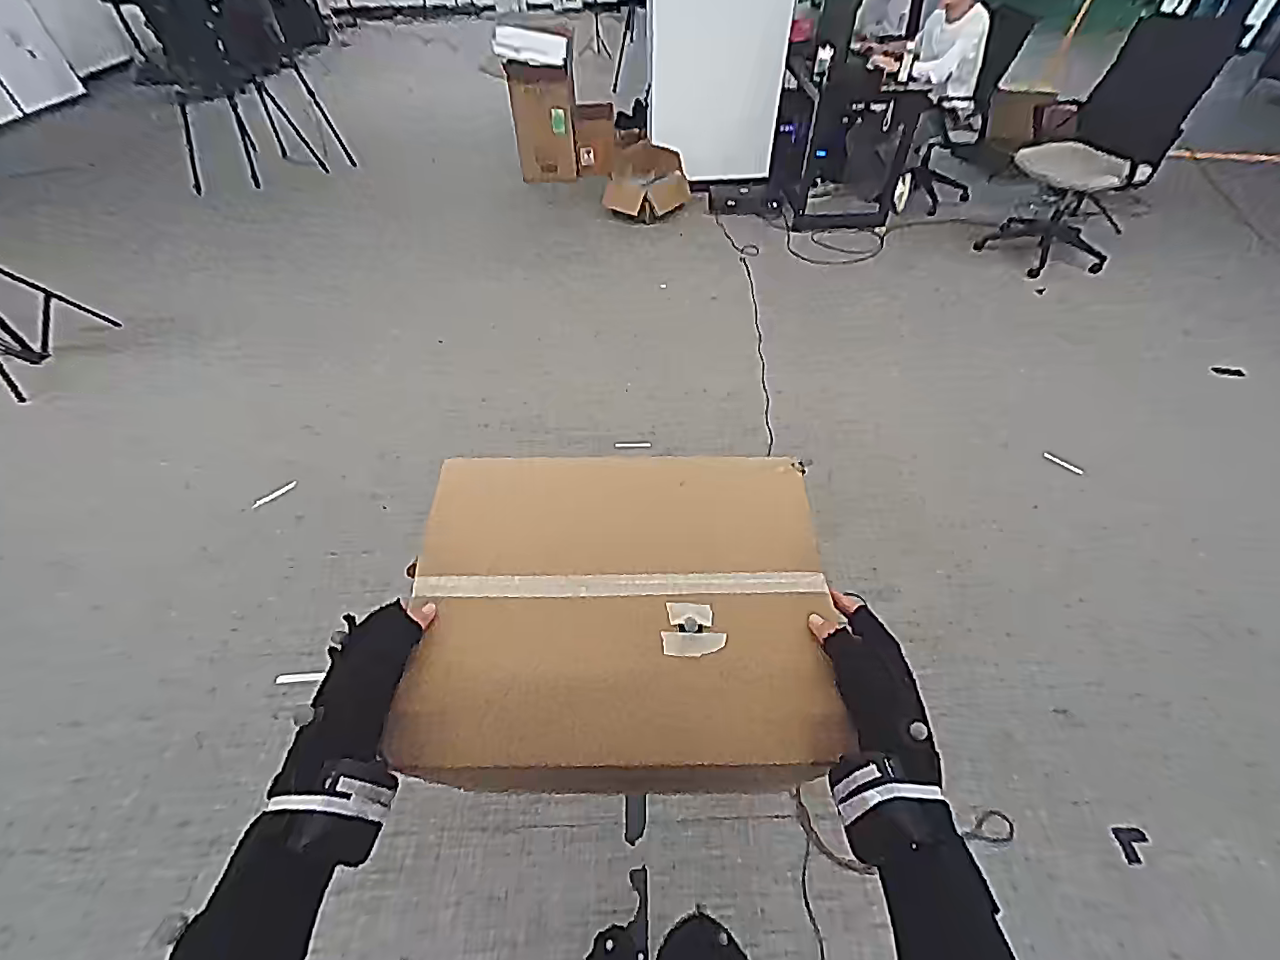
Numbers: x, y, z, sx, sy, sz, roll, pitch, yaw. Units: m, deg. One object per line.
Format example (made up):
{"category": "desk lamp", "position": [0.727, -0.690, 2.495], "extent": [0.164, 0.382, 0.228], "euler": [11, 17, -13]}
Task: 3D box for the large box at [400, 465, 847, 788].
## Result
{"category": "large box", "position": [-0.019, 0.193, 0.677], "extent": [0.408, 0.320, 0.320], "euler": [0, 57, -1]}
